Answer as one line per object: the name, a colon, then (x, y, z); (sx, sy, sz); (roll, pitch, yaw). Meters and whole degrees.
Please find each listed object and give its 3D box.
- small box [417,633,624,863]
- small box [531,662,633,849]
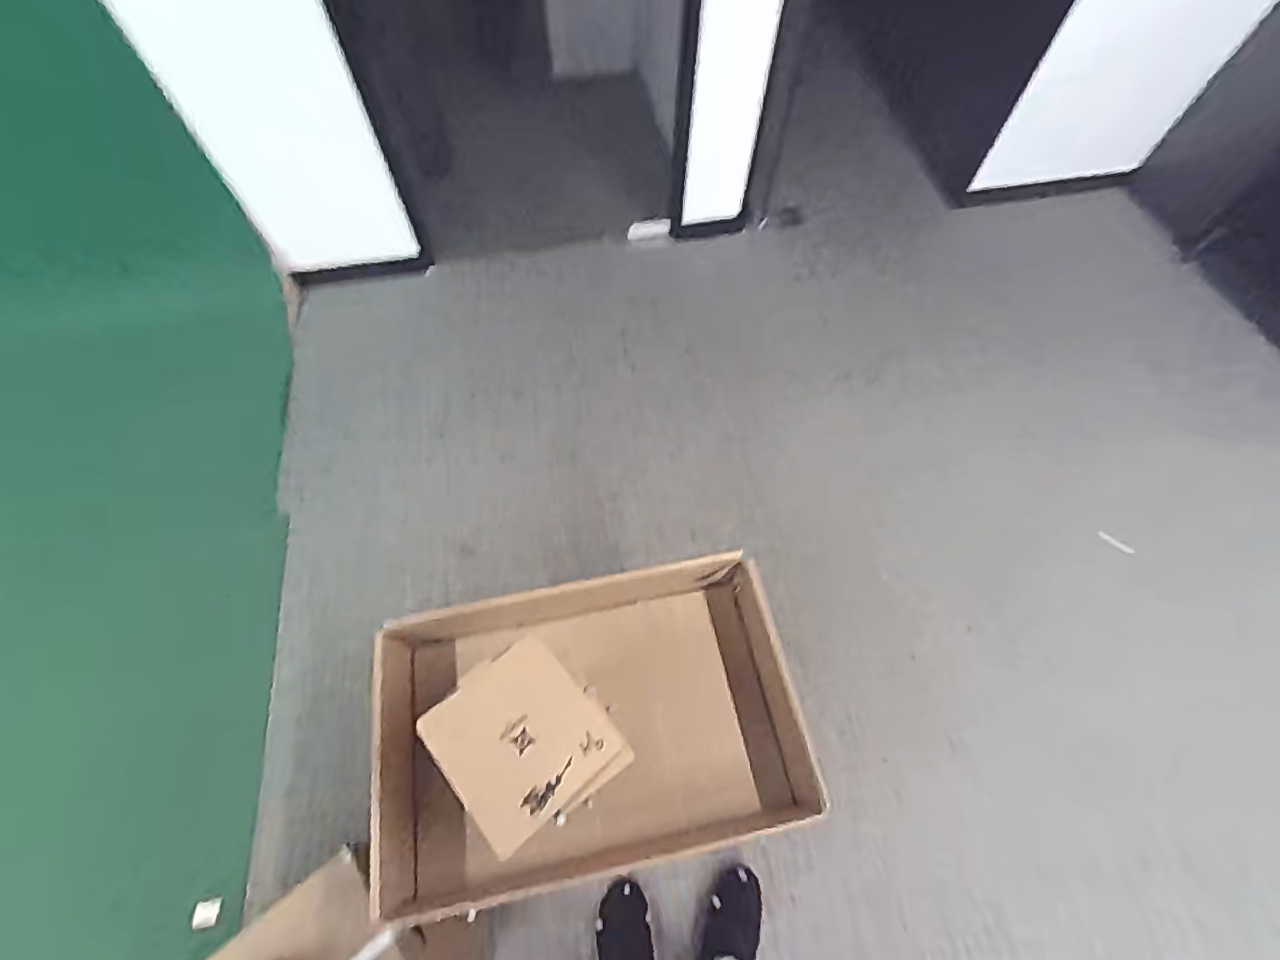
small box: (-0.136, 0.325, 0.666); (0.168, 0.176, 0.179); (-37, 67, -20)
small box: (-0.123, 0.405, 0.810); (0.168, 0.176, 0.179); (-32, 66, -18)
